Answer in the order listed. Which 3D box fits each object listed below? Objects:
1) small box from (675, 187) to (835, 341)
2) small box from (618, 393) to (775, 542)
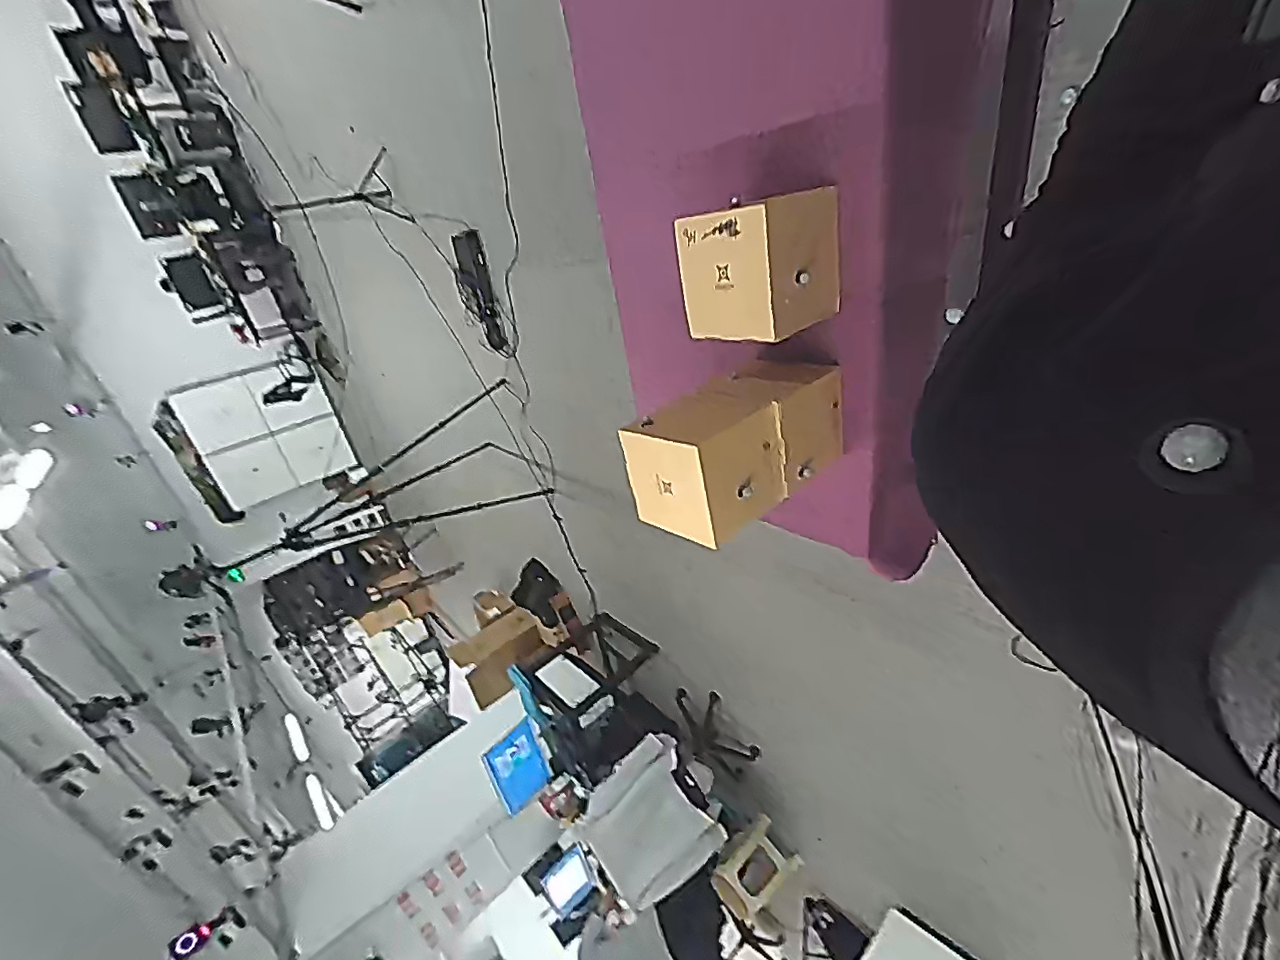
[{"bbox_3d":[0.178,-0.324,0.815,0.168,0.176,0.179,21,131,46],"label":"small box"},{"bbox_3d":[0.097,-0.031,0.854,0.179,0.176,0.168,18,129,49],"label":"small box"}]
